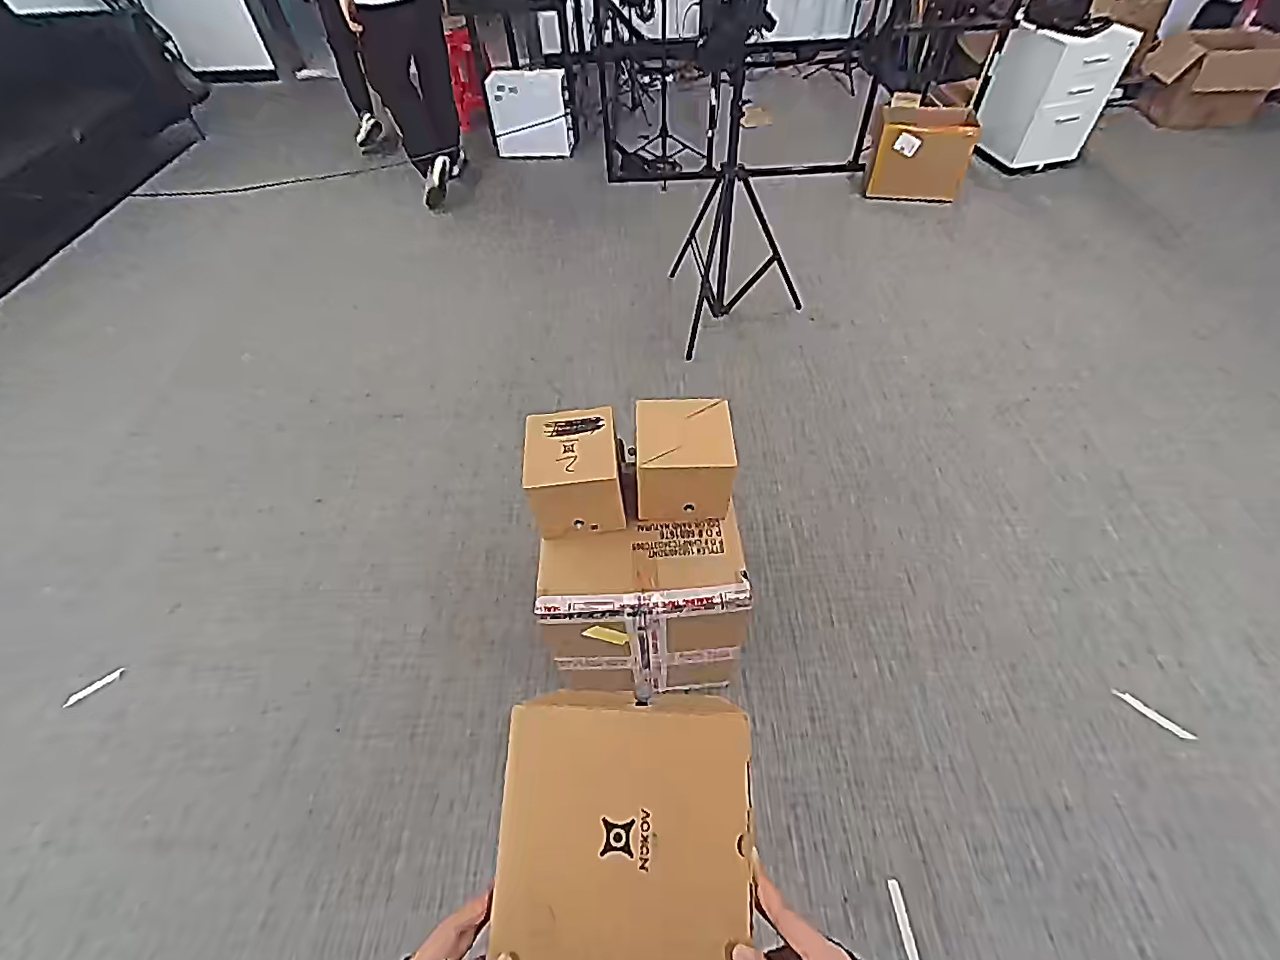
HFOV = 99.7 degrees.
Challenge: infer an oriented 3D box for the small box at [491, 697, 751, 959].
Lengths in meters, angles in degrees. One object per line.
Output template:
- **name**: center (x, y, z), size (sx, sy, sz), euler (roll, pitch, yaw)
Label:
- **small box**: center (-0.007, 0.278, 0.457), size (0.179, 0.176, 0.168), euler (2, 71, 2)
